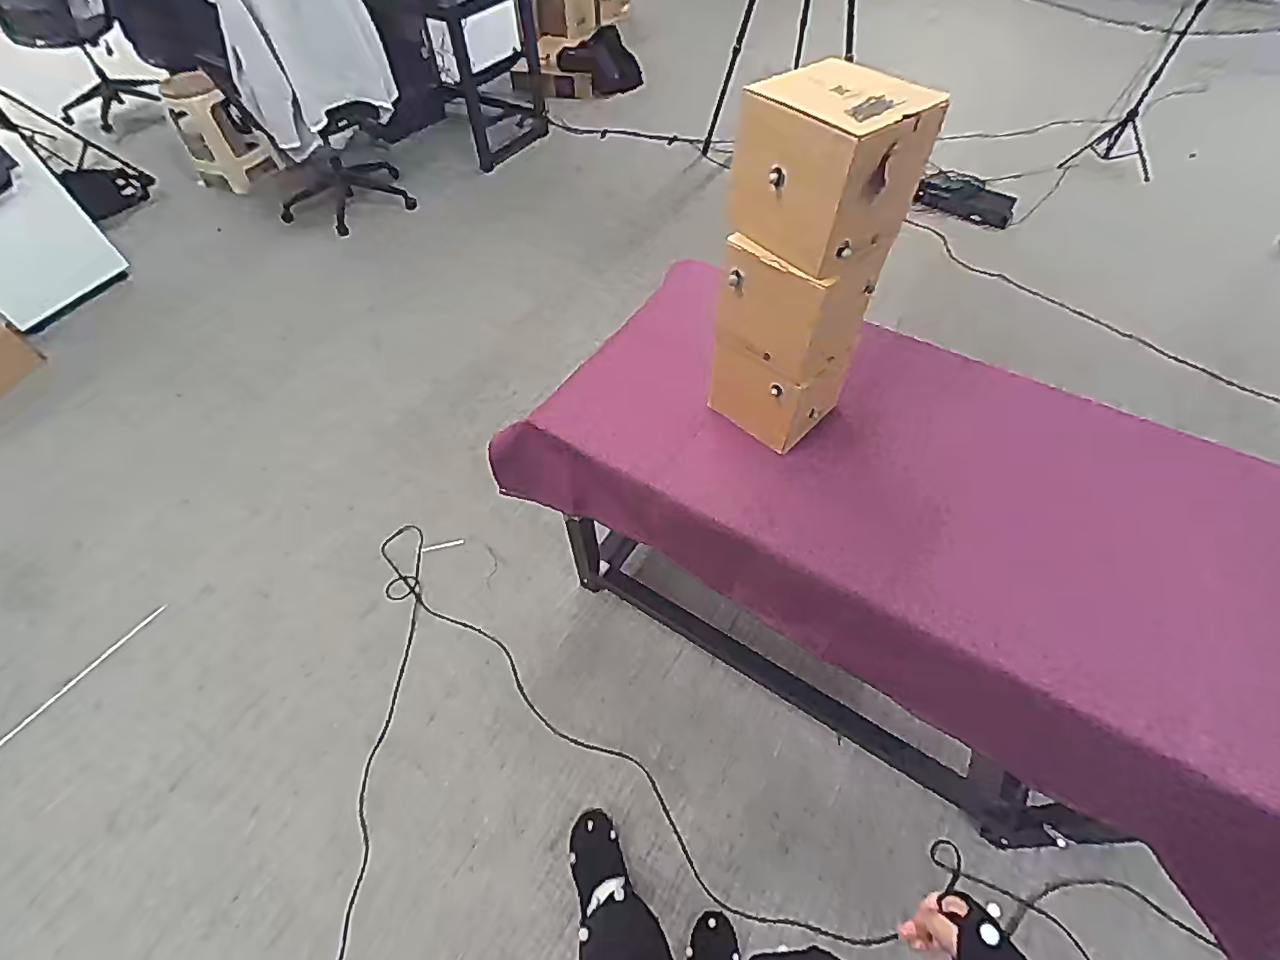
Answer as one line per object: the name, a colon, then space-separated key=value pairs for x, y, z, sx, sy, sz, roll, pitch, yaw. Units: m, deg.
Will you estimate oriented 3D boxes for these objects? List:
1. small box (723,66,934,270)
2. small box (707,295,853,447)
small box: x=0.230 y=-0.400 z=0.706 sx=0.168 sy=0.176 sz=0.179 roll=-33 pitch=59 yaw=-22
small box: x=0.236 y=-0.190 z=0.959 sx=0.179 sy=0.176 sz=0.168 roll=38 pitch=63 yaw=24
